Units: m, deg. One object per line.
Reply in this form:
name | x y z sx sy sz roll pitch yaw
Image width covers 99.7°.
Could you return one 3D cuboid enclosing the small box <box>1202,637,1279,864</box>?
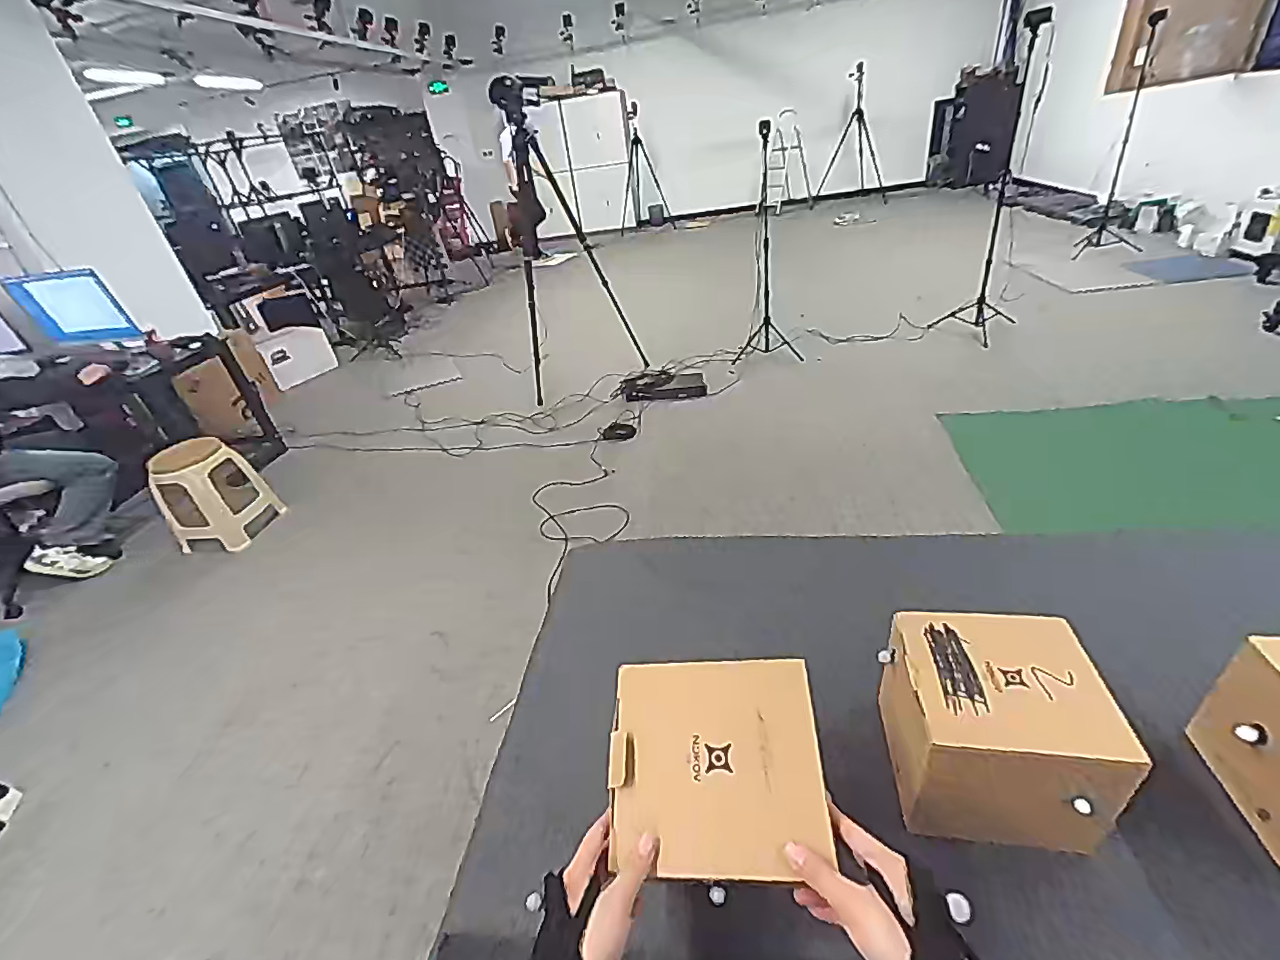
small box | 0.687 0.268 0.499 0.179 0.176 0.168 -1 33 12
